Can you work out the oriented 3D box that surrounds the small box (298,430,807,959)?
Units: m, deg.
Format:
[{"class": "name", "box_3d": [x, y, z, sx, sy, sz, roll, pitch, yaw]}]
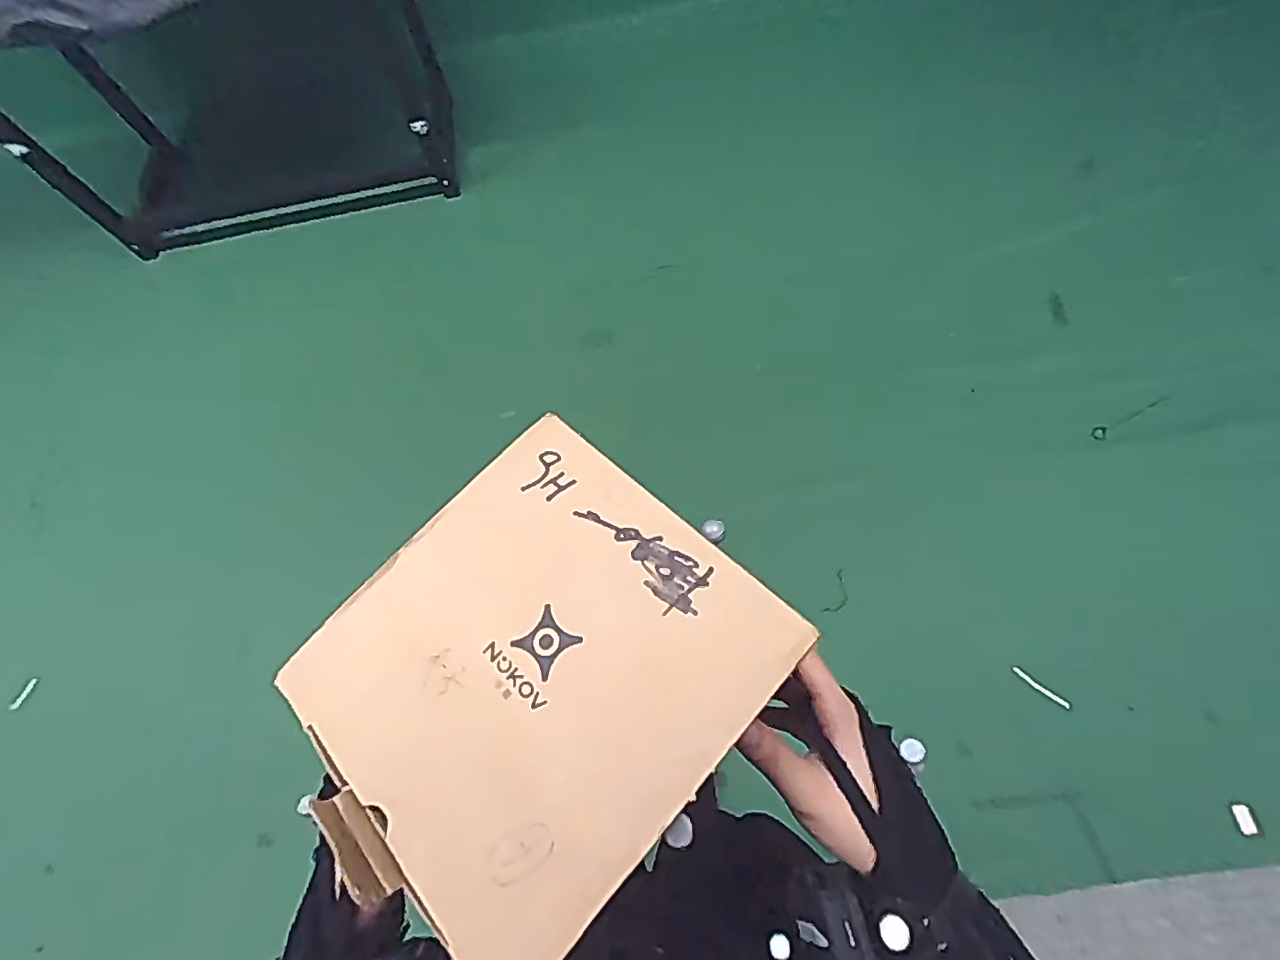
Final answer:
[{"class": "small box", "box_3d": [-0.031, 0.112, 0.306, 0.168, 0.176, 0.179, 39, 78, 22]}]
